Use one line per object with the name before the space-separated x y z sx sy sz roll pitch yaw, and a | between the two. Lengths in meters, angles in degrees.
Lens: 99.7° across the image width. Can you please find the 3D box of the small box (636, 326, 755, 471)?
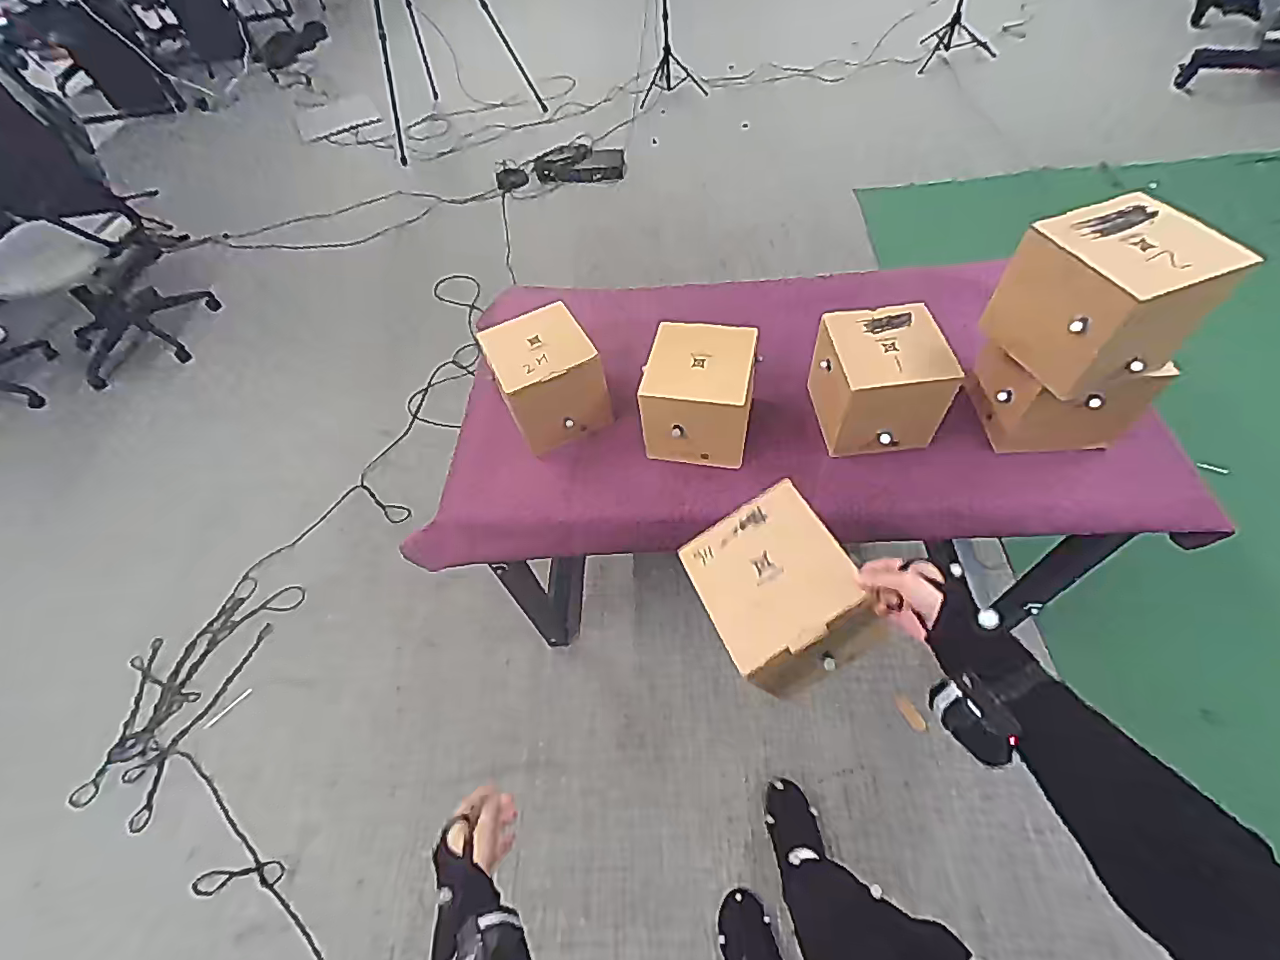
small box | 0.100 -0.136 0.919 0.168 0.176 0.179 8 55 13

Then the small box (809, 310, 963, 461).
small box | 0.389 -0.154 0.896 0.168 0.176 0.179 -6 55 3

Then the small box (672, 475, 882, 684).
small box | 0.171 0.132 0.664 0.168 0.176 0.179 -34 50 9

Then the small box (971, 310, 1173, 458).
small box | 0.658 -0.147 0.859 0.179 0.176 0.168 -1 54 6

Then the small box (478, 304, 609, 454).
small box | -0.169 -0.179 0.975 0.168 0.176 0.179 -25 56 -10
